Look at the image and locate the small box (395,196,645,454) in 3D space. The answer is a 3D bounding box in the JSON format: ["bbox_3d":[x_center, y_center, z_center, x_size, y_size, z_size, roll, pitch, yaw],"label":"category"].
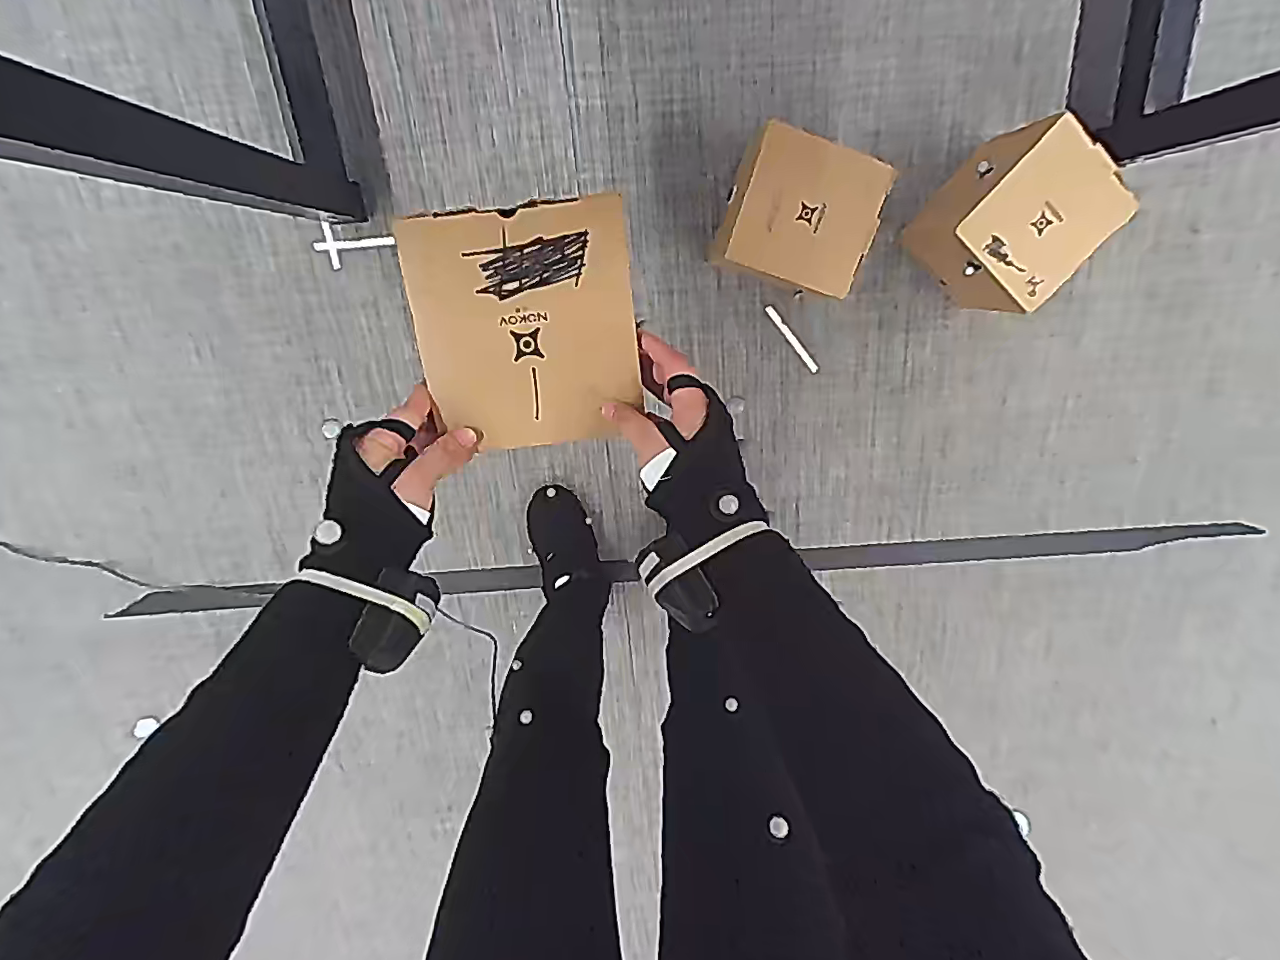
[{"bbox_3d":[-0.088,-0.134,0.482,0.168,0.176,0.179,-7,108,0],"label":"small box"}]

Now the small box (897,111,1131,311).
[{"bbox_3d":[0.510,-0.366,0.767,0.168,0.176,0.179,37,105,-13],"label":"small box"}]

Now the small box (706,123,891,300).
[{"bbox_3d":[0.207,-0.364,0.762,0.179,0.176,0.168,15,108,-6],"label":"small box"}]
